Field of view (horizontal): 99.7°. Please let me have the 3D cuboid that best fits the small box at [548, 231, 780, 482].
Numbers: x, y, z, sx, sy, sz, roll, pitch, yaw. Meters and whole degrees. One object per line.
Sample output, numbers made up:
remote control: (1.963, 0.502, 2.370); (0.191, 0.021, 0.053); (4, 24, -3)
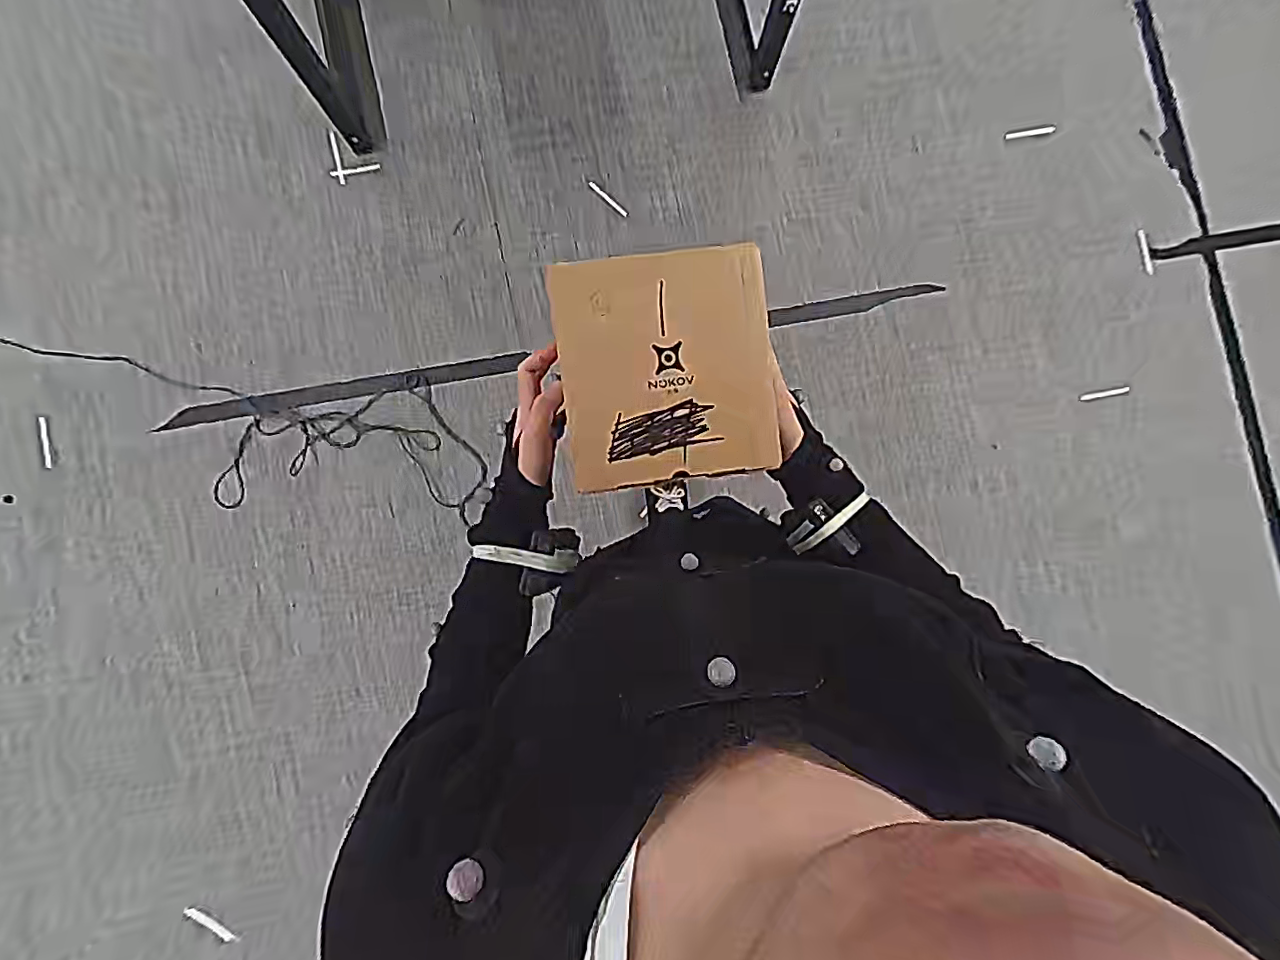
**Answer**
small box: (0.014, -0.102, 0.490); (0.168, 0.176, 0.179); (-8, 96, -5)
